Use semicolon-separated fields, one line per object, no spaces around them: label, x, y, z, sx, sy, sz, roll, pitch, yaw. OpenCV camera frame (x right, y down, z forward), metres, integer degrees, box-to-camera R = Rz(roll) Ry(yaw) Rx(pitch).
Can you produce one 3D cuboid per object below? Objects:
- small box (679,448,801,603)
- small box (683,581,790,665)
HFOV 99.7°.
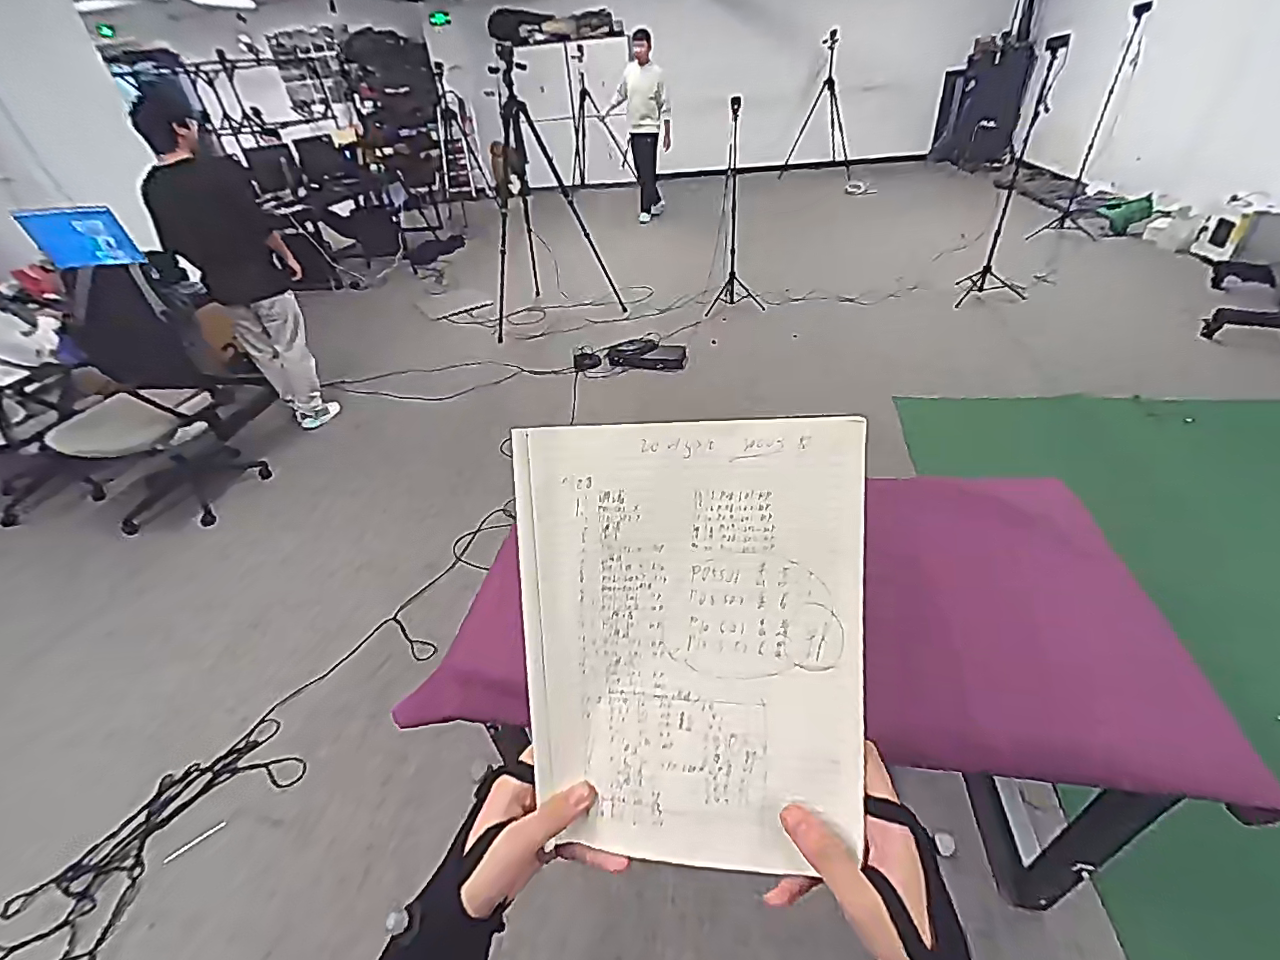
small box;0.155;0.068;0.833;0.168;0.176;0.179;3;36;11
small box;0.169;0.196;0.937;0.168;0.176;0.179;3;39;11
